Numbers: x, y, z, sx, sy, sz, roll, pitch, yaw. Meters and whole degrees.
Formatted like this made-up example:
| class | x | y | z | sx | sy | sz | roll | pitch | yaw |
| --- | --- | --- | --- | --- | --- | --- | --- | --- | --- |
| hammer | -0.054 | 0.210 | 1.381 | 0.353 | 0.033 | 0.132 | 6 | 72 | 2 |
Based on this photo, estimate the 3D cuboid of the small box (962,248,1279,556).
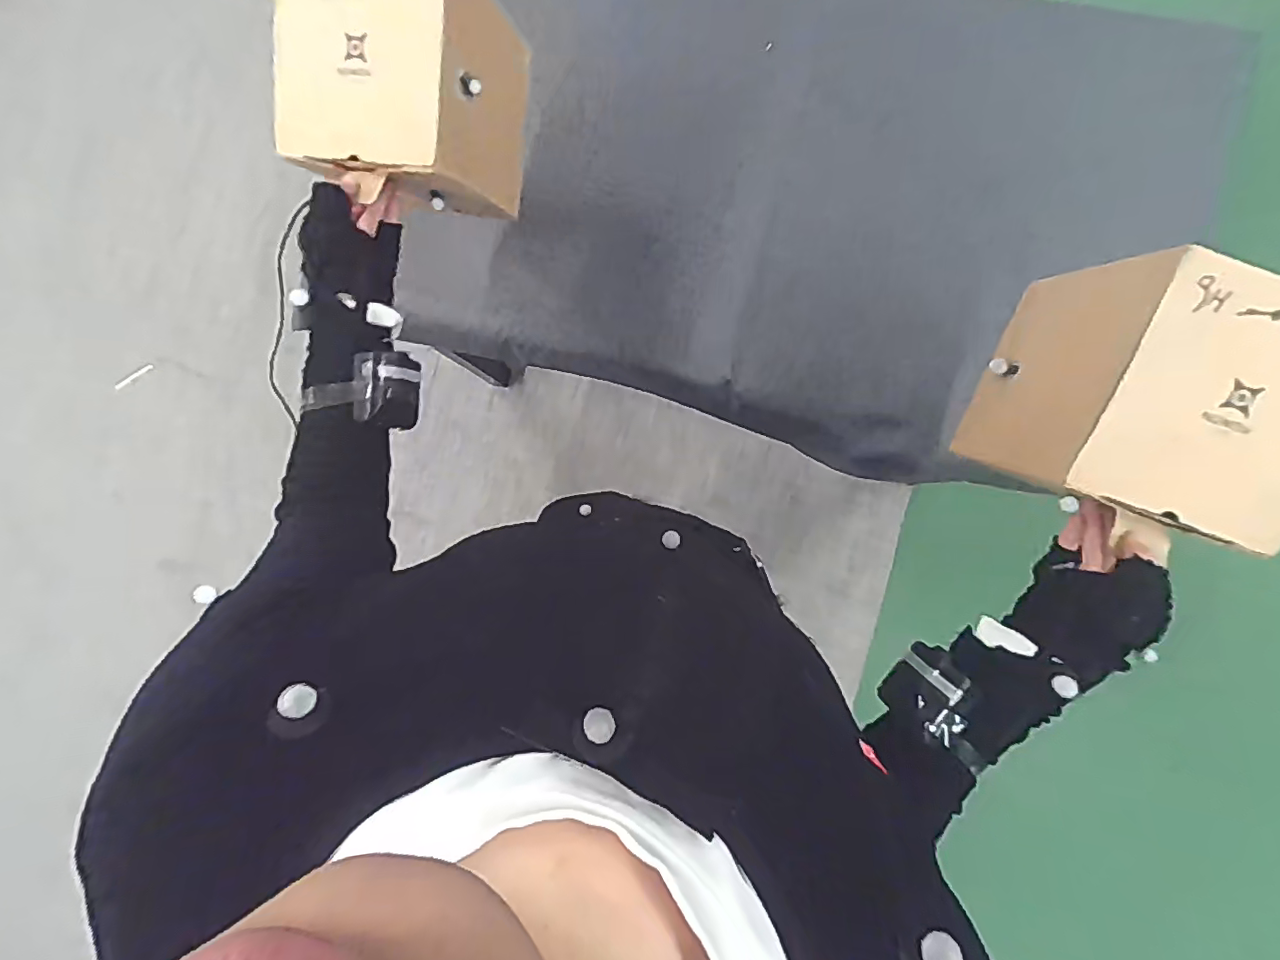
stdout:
| class | x | y | z | sx | sy | sz | roll | pitch | yaw |
| --- | --- | --- | --- | --- | --- | --- | --- | --- | --- |
| small box | 0.412 | -0.066 | 0.456 | 0.168 | 0.176 | 0.179 | 19 | 103 | -1 |

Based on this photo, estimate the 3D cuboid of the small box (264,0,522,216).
| class | x | y | z | sx | sy | sz | roll | pitch | yaw |
| --- | --- | --- | --- | --- | --- | --- | --- | --- | --- |
| small box | -0.228 | -0.376 | 0.531 | 0.168 | 0.176 | 0.179 | 10 | 103 | 10 |
